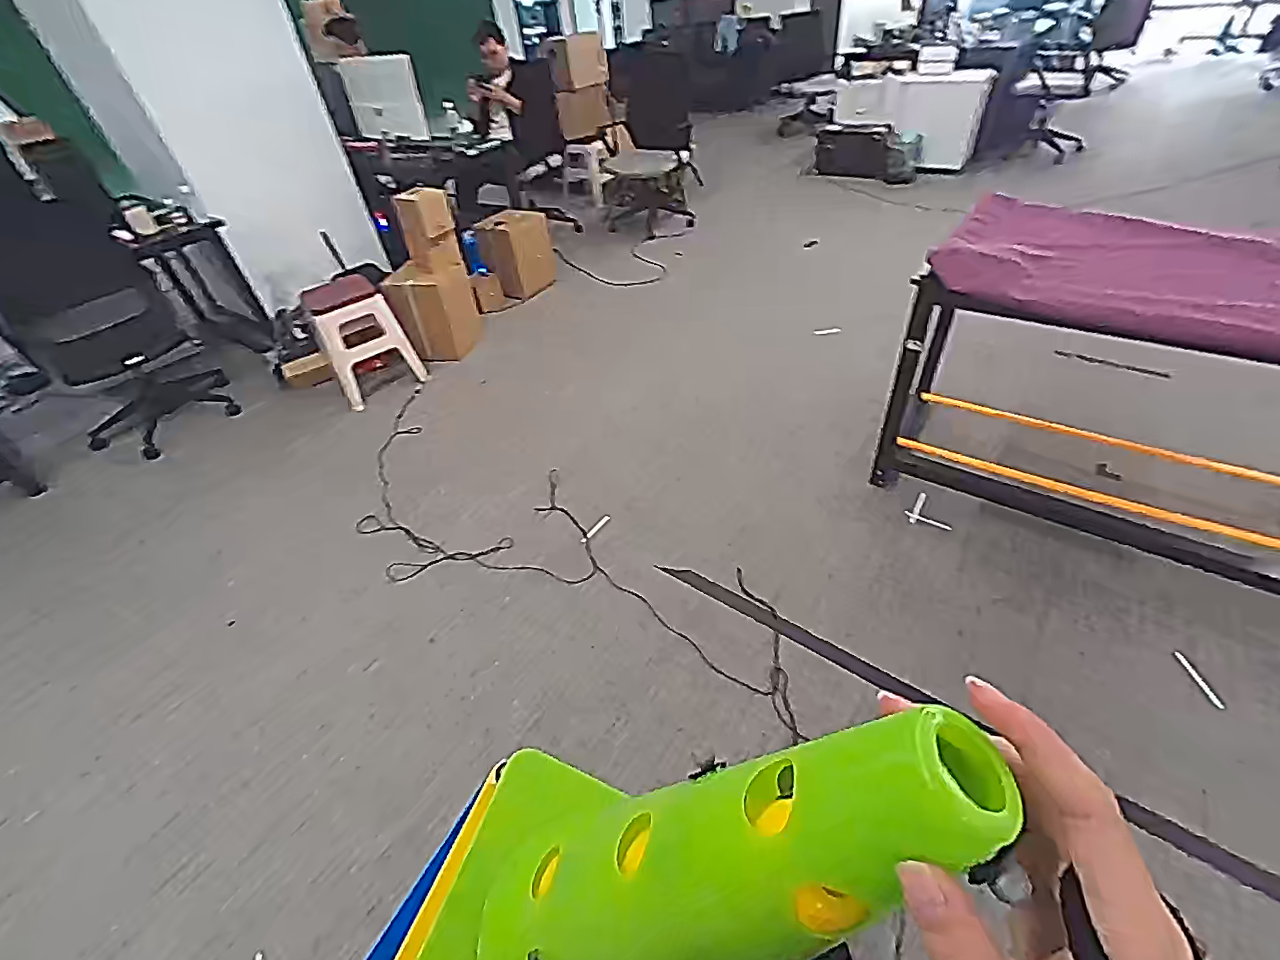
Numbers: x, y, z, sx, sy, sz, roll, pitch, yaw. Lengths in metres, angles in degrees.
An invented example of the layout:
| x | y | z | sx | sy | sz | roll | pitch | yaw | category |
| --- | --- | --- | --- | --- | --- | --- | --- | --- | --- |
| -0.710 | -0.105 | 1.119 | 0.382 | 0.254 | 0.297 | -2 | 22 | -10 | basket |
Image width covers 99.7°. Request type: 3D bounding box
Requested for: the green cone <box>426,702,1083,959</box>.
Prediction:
| x | y | z | sx | sy | sz | roll | pitch | yaw | category |
| --- | --- | --- | --- | --- | --- | --- | --- | --- | --- |
| 0.039 | 0.197 | 0.276 | 0.200 | 0.368 | 0.202 | 29 | 40 | -3 | green cone |
